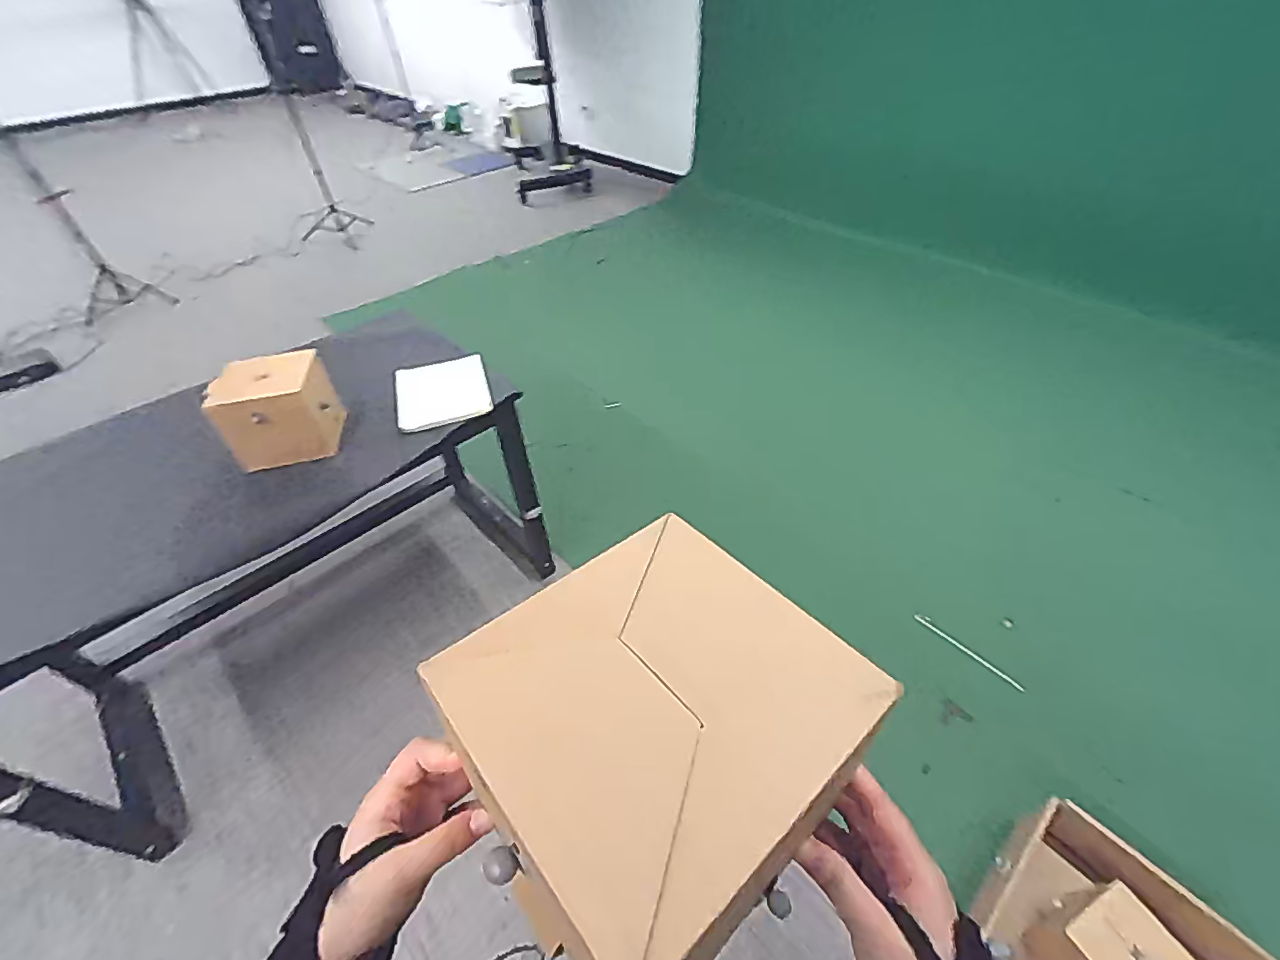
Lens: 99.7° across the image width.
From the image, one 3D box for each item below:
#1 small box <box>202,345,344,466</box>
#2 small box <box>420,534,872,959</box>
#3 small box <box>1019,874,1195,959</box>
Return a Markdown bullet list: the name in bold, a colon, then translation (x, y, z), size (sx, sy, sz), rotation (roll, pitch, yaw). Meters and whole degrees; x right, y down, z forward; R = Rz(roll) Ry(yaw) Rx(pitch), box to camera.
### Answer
- **small box**: translation (-0.744, -0.154, 1.123), size (0.179, 0.176, 0.168), rotation (-12, 46, -8)
- **small box**: translation (0.004, 0.157, 0.316), size (0.179, 0.176, 0.168), rotation (-30, 49, -31)
- **small box**: translation (0.873, 0.884, 1.011), size (0.168, 0.176, 0.179), rotation (-21, 50, -17)
